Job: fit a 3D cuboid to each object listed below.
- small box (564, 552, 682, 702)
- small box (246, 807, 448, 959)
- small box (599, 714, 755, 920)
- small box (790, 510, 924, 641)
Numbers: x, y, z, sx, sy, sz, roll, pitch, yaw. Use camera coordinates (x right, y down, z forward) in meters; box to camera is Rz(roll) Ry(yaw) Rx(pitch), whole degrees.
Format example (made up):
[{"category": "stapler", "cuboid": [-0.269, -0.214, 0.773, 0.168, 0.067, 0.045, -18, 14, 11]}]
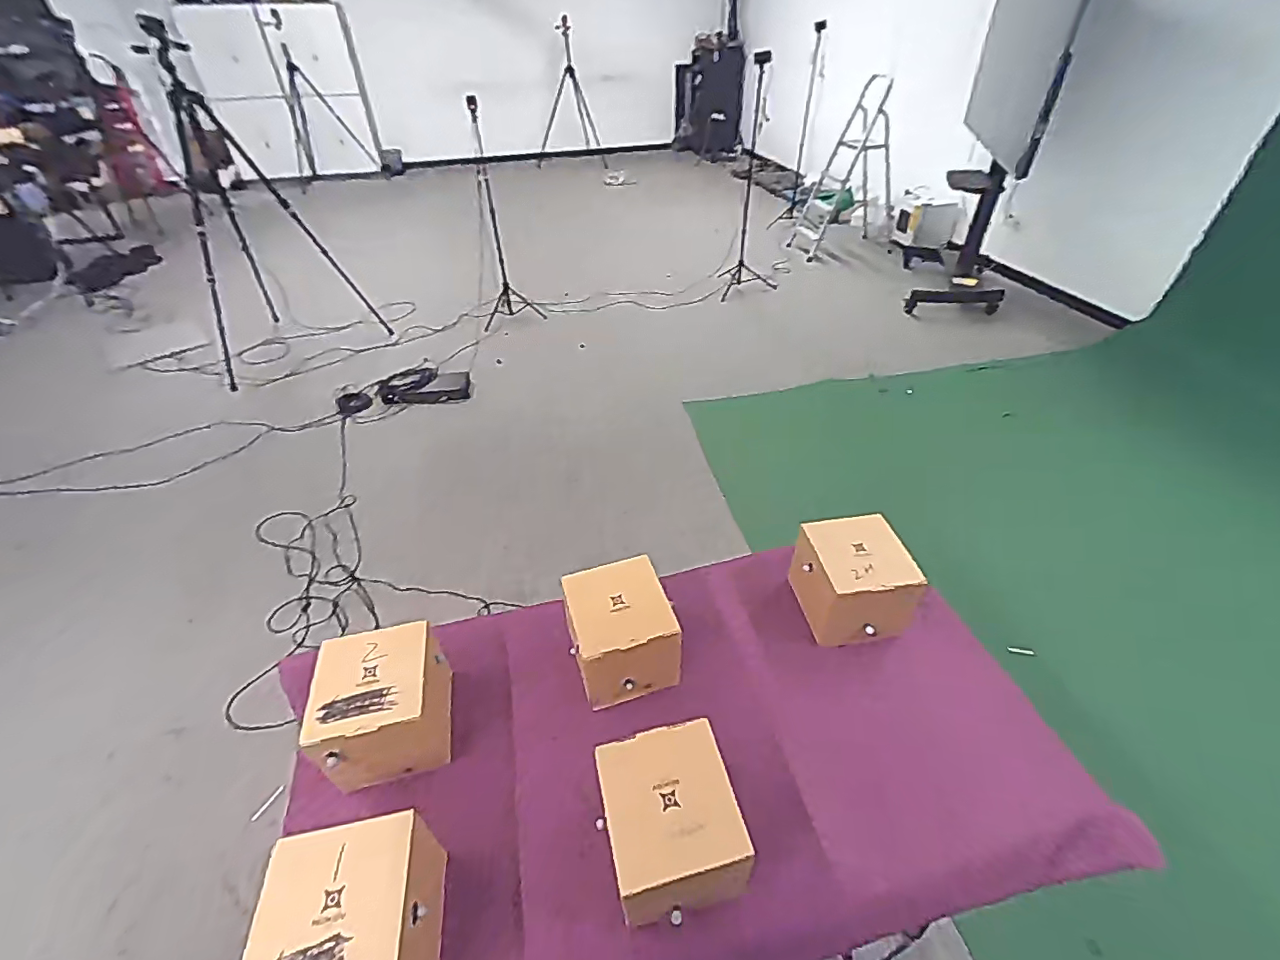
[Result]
[{"category": "small box", "cuboid": [-0.034, 0.262, 0.973, 0.168, 0.176, 0.179, -13, 44, -14]}, {"category": "small box", "cuboid": [-0.342, 0.540, 0.660, 0.168, 0.176, 0.179, -8, 40, -8]}, {"category": "small box", "cuboid": [0.041, 0.460, 0.743, 0.168, 0.176, 0.179, -11, 41, -9]}, {"category": "small box", "cuboid": [0.405, 0.183, 1.046, 0.168, 0.176, 0.179, -7, 42, -5]}]
